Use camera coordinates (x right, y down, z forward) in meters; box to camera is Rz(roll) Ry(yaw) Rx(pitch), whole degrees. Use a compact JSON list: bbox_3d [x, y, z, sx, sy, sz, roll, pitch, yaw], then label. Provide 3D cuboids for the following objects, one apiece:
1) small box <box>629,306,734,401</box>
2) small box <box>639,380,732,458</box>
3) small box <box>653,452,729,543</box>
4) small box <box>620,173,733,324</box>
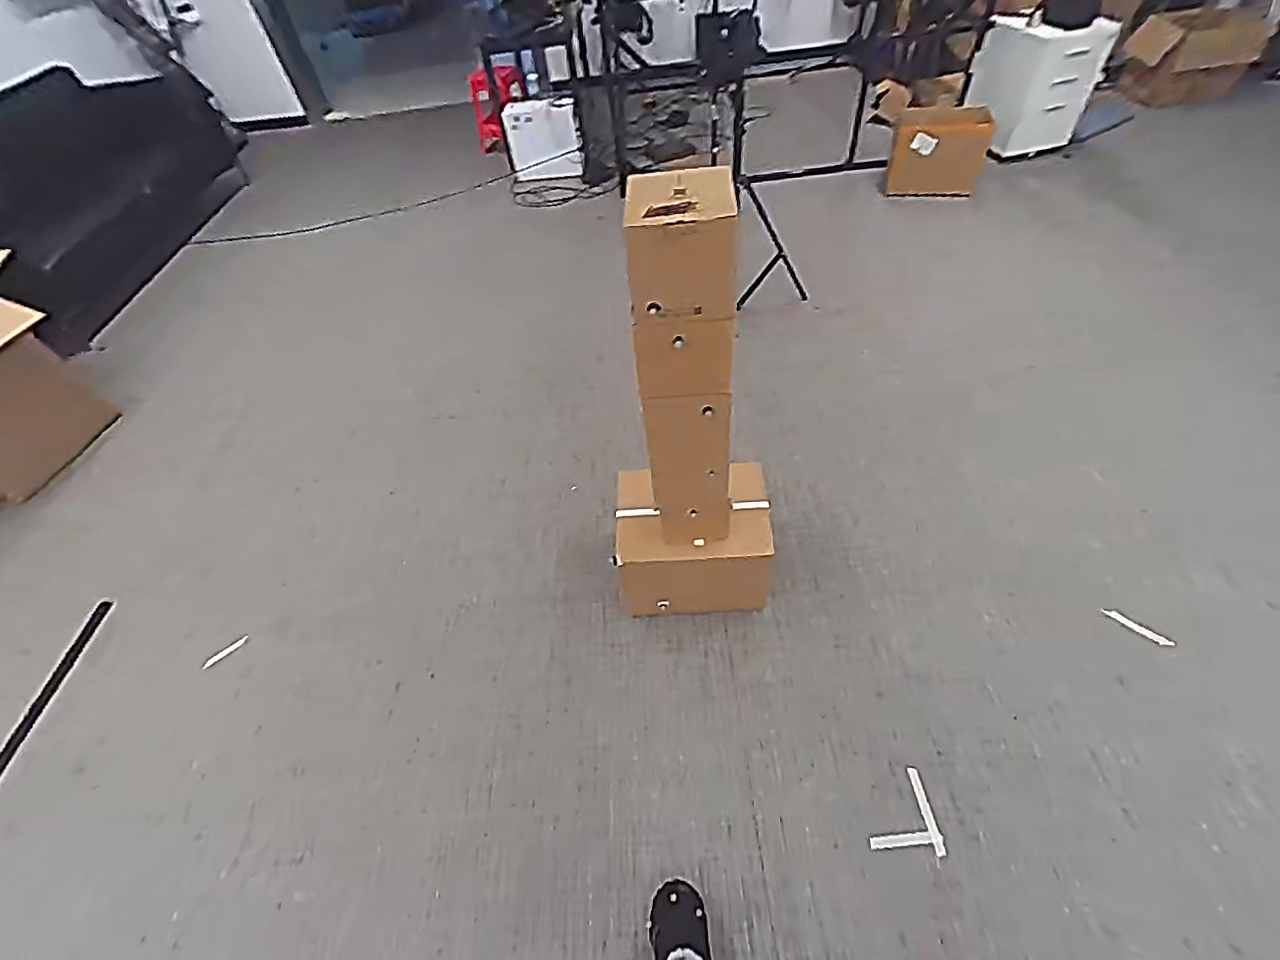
[{"bbox_3d":[0.078,-0.264,1.008,0.179,0.176,0.168,-3,51,6],"label":"small box"},{"bbox_3d":[0.094,-0.161,1.131,0.179,0.176,0.168,-3,50,5],"label":"small box"},{"bbox_3d":[0.130,0.049,1.382,0.179,0.176,0.168,-5,51,2],"label":"small box"},{"bbox_3d":[0.064,-0.369,0.881,0.168,0.176,0.179,-3,50,6],"label":"small box"}]
